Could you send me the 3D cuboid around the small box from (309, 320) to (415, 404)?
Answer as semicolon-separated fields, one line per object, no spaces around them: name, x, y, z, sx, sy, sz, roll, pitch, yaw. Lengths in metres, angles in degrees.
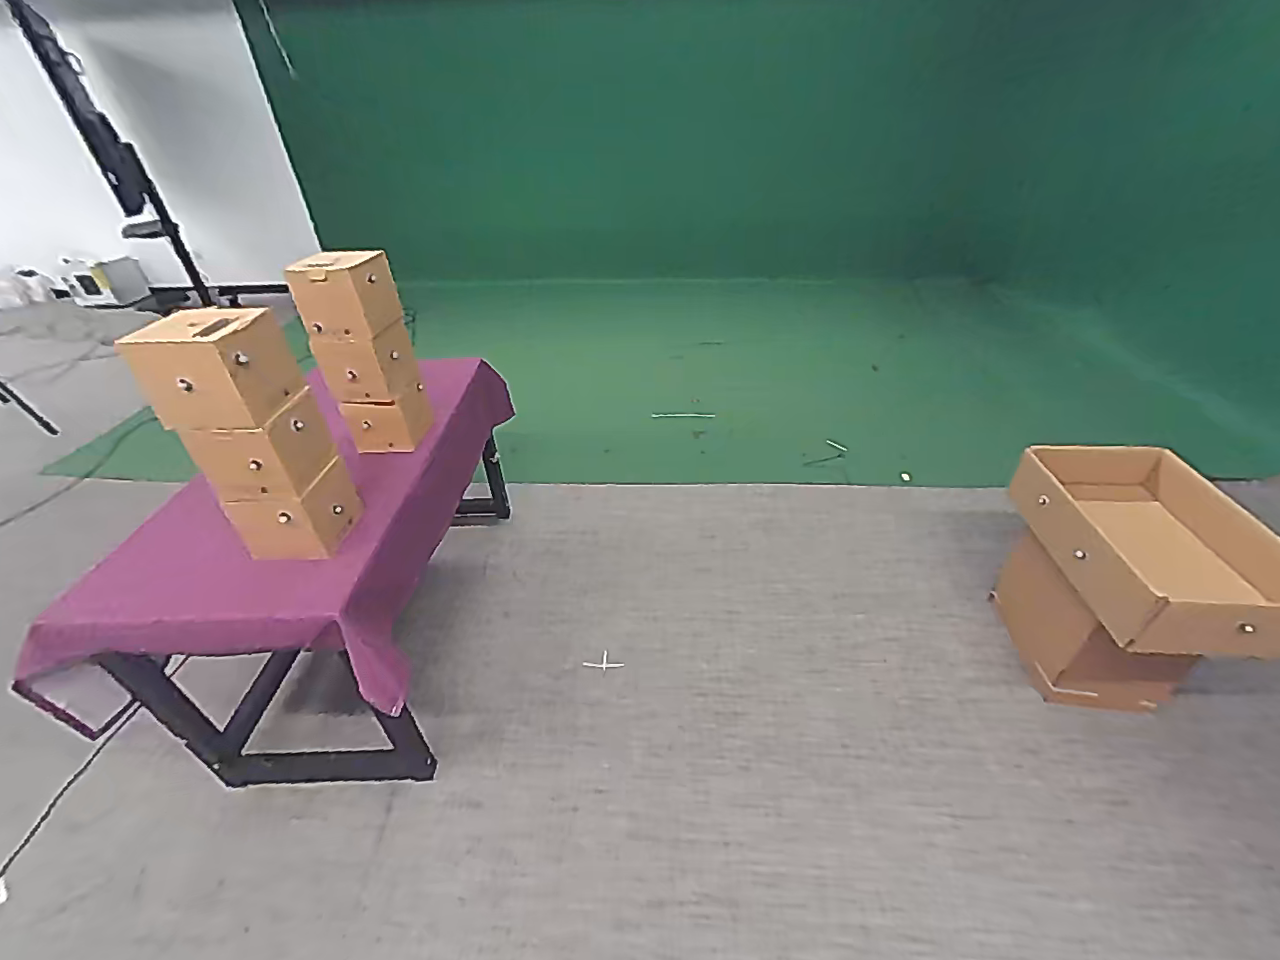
small box;-0.720;-0.311;1.429;0.168;0.176;0.179;1;37;5

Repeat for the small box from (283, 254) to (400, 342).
small box;-0.725;-0.449;1.339;0.168;0.176;0.179;1;35;6

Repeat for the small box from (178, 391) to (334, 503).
small box;-0.758;-0.066;1.095;0.168;0.176;0.179;0;36;2

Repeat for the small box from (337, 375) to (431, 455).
small box;-0.713;-0.182;1.531;0.168;0.176;0.179;-1;36;2

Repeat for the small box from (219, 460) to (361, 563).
small box;-0.751;0.069;1.187;0.179;0.176;0.168;-1;36;4
